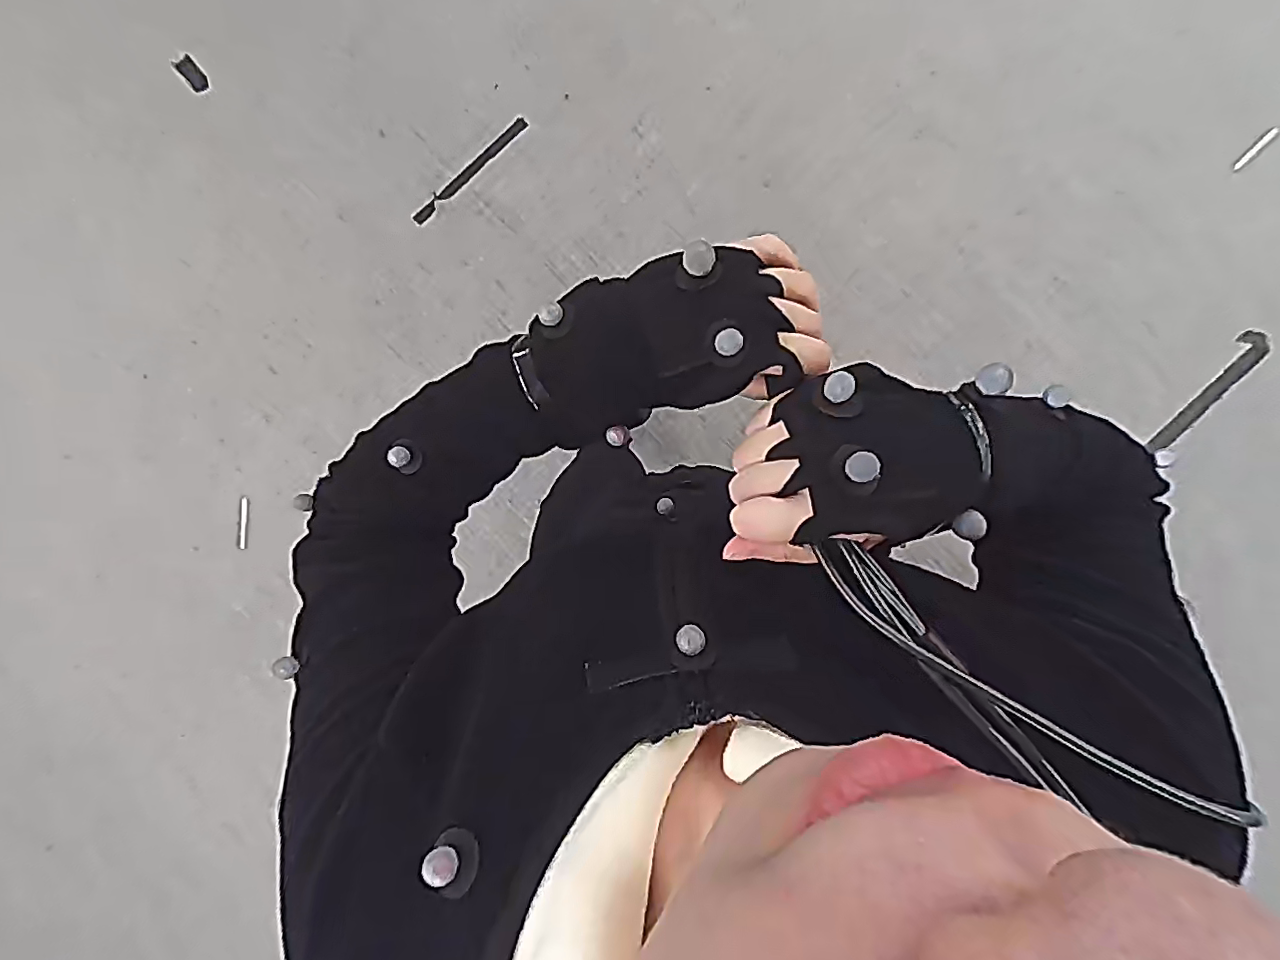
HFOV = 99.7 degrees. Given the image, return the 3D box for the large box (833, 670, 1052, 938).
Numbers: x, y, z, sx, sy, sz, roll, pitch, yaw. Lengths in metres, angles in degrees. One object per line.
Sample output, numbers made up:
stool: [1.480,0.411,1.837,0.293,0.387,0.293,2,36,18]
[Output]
large box: [0.642,0.681,1.198,0.320,0.320,0.408,-3,93,-1]
